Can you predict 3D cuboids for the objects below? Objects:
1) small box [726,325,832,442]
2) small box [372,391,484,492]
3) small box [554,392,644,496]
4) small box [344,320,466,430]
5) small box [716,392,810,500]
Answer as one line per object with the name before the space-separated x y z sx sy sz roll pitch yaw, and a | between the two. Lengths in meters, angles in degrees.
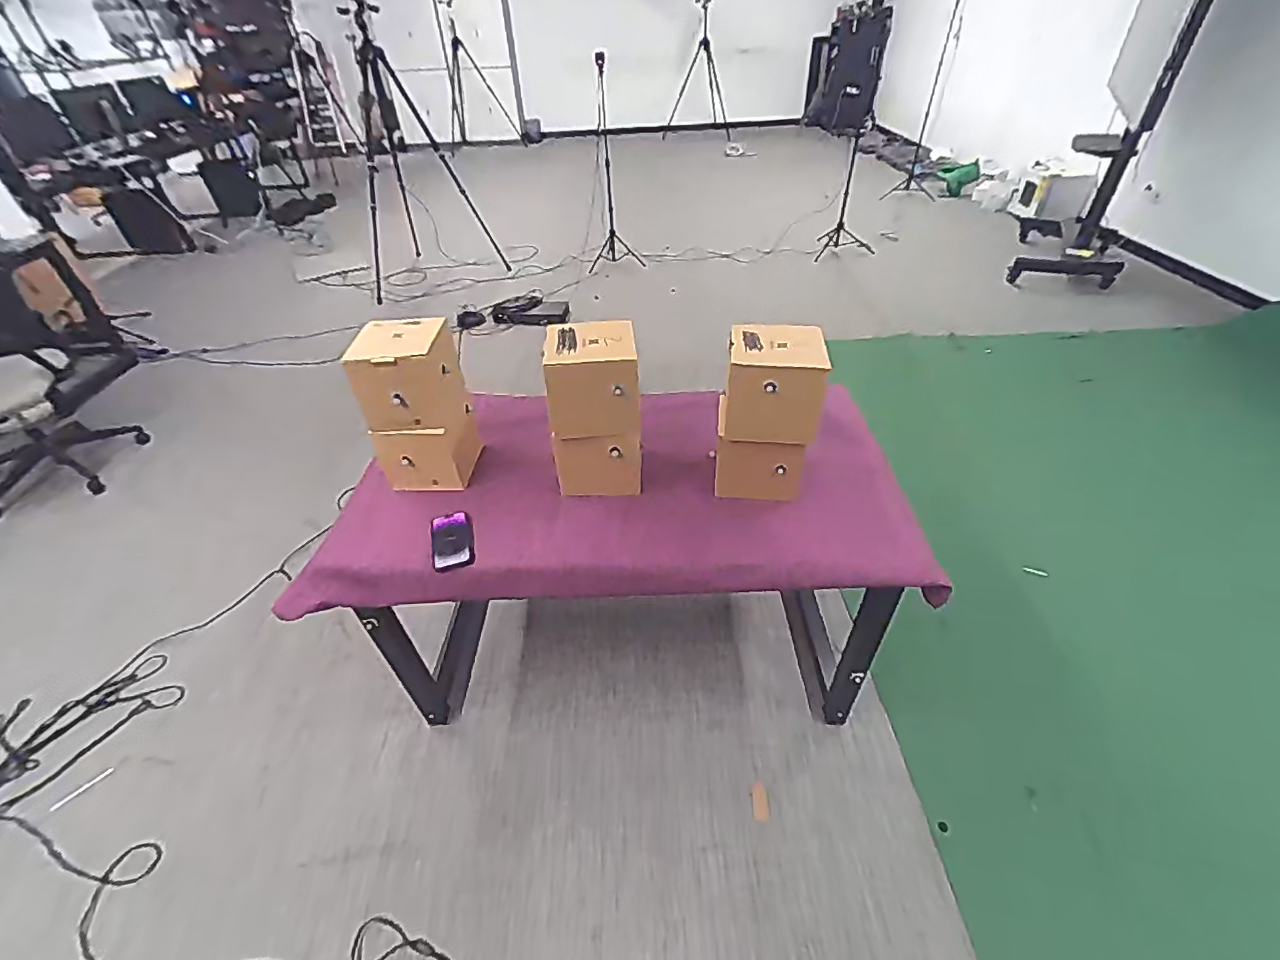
small box | 0.259 -0.187 1.045 0.179 0.176 0.168 3 41 7
small box | -0.470 -0.084 1.232 0.168 0.176 0.179 0 40 4
small box | -0.081 -0.078 1.193 0.179 0.176 0.168 -1 41 3
small box | -0.478 -0.215 1.132 0.168 0.176 0.179 -3 41 -1
small box | 0.259 -0.072 1.164 0.179 0.176 0.168 3 41 9
